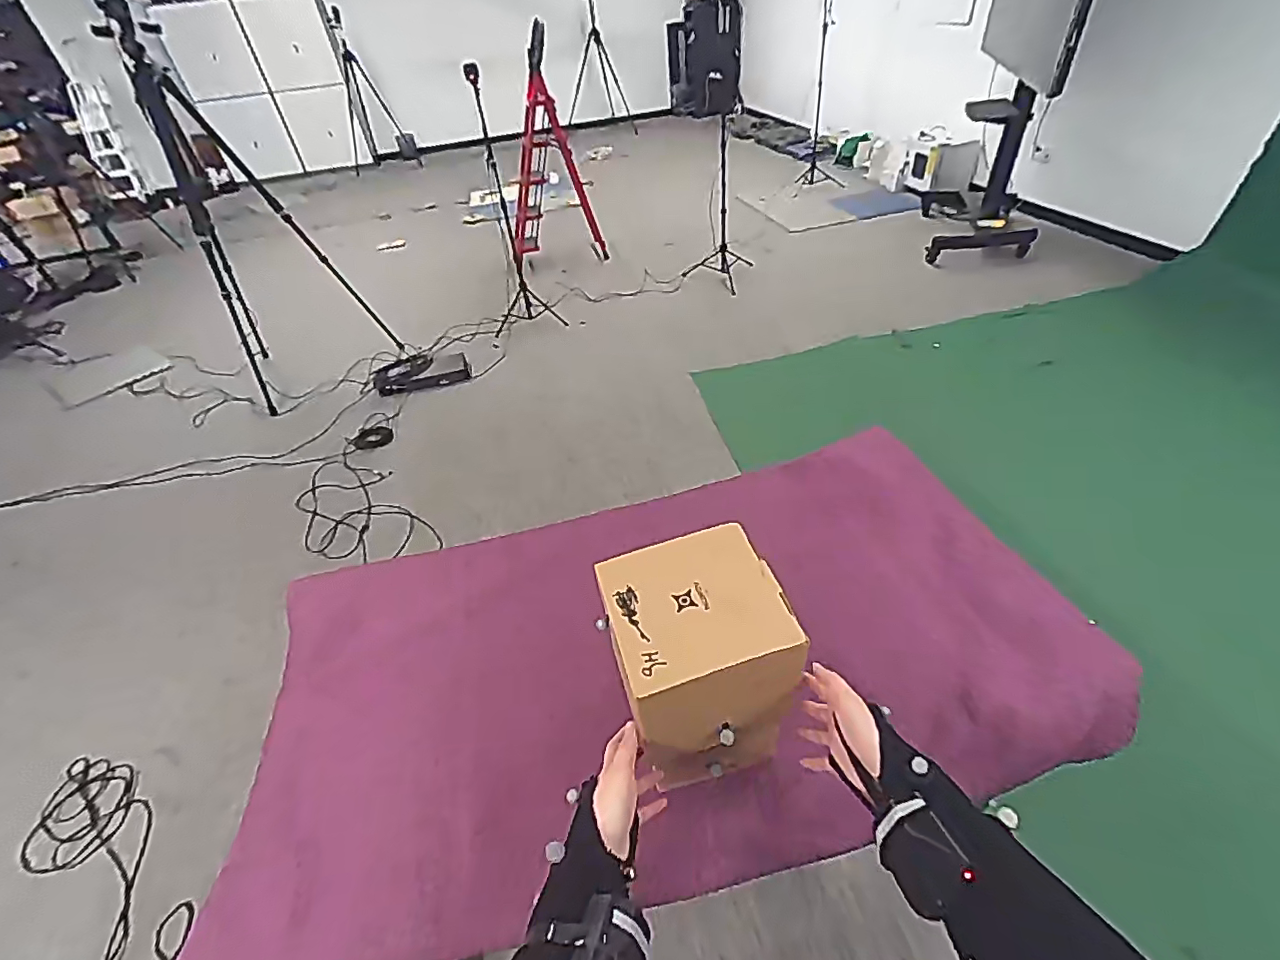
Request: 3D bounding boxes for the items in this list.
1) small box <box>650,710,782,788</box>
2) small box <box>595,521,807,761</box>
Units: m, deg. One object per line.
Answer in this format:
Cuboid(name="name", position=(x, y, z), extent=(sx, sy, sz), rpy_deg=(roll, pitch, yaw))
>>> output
Cuboid(name="small box", position=(0.076, 0.279, 0.730), extent=(0.168, 0.176, 0.179), rpy_deg=(-12, 43, -6))
Cuboid(name="small box", position=(0.059, 0.177, 0.598), extent=(0.179, 0.176, 0.168), rpy_deg=(-14, 41, -8))
